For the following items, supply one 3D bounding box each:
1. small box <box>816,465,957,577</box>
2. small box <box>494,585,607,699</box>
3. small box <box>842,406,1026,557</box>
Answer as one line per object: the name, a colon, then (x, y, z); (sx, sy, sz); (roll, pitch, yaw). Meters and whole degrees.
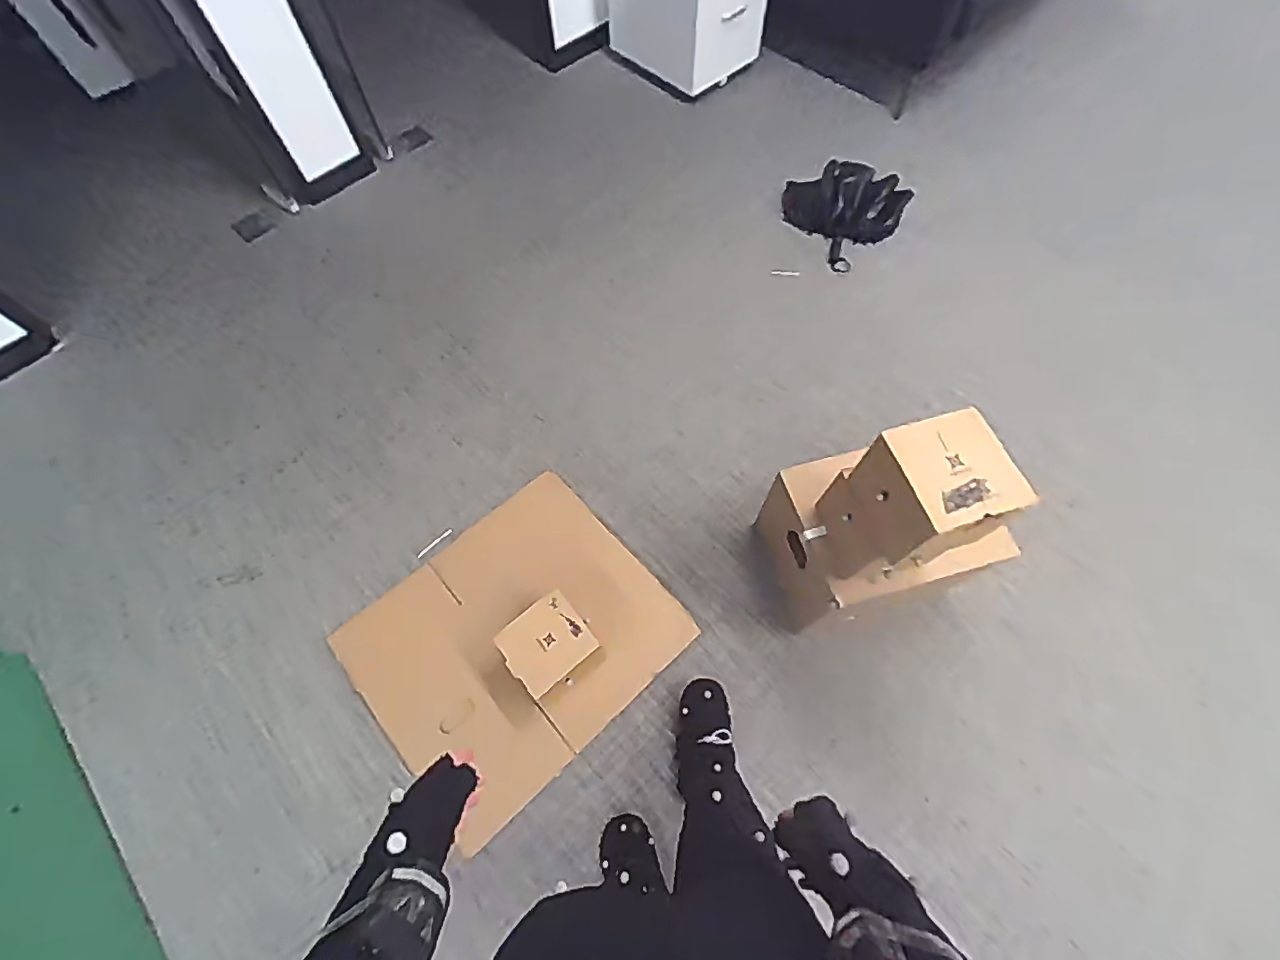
small box: (0.460, 0.071, 1.040); (0.168, 0.176, 0.179); (-12, 67, -4)
small box: (-0.194, 0.376, 1.232); (0.179, 0.176, 0.168); (-41, 68, -15)
small box: (0.464, 0.013, 0.886); (0.168, 0.176, 0.179); (-19, 67, -7)
